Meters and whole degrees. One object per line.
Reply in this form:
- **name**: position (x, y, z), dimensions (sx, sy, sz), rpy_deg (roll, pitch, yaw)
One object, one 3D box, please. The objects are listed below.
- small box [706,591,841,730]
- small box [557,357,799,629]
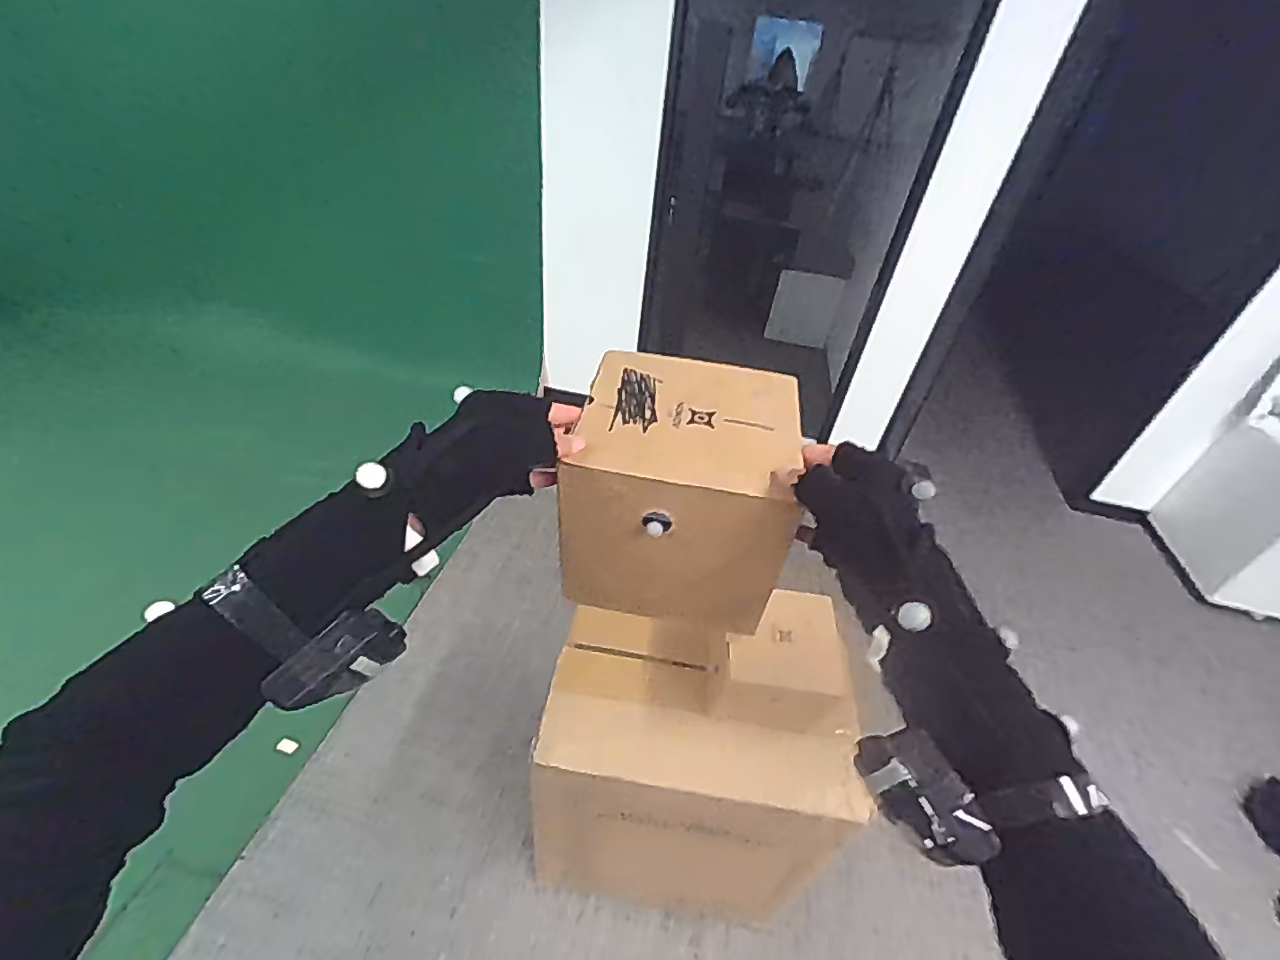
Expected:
- **small box**: position (0.209, 0.301, 0.902), dimensions (0.179, 0.176, 0.168), rpy_deg (9, 48, -2)
- **small box**: position (0.032, 0.013, 0.489), dimensions (0.179, 0.176, 0.168), rpy_deg (10, 42, 4)
